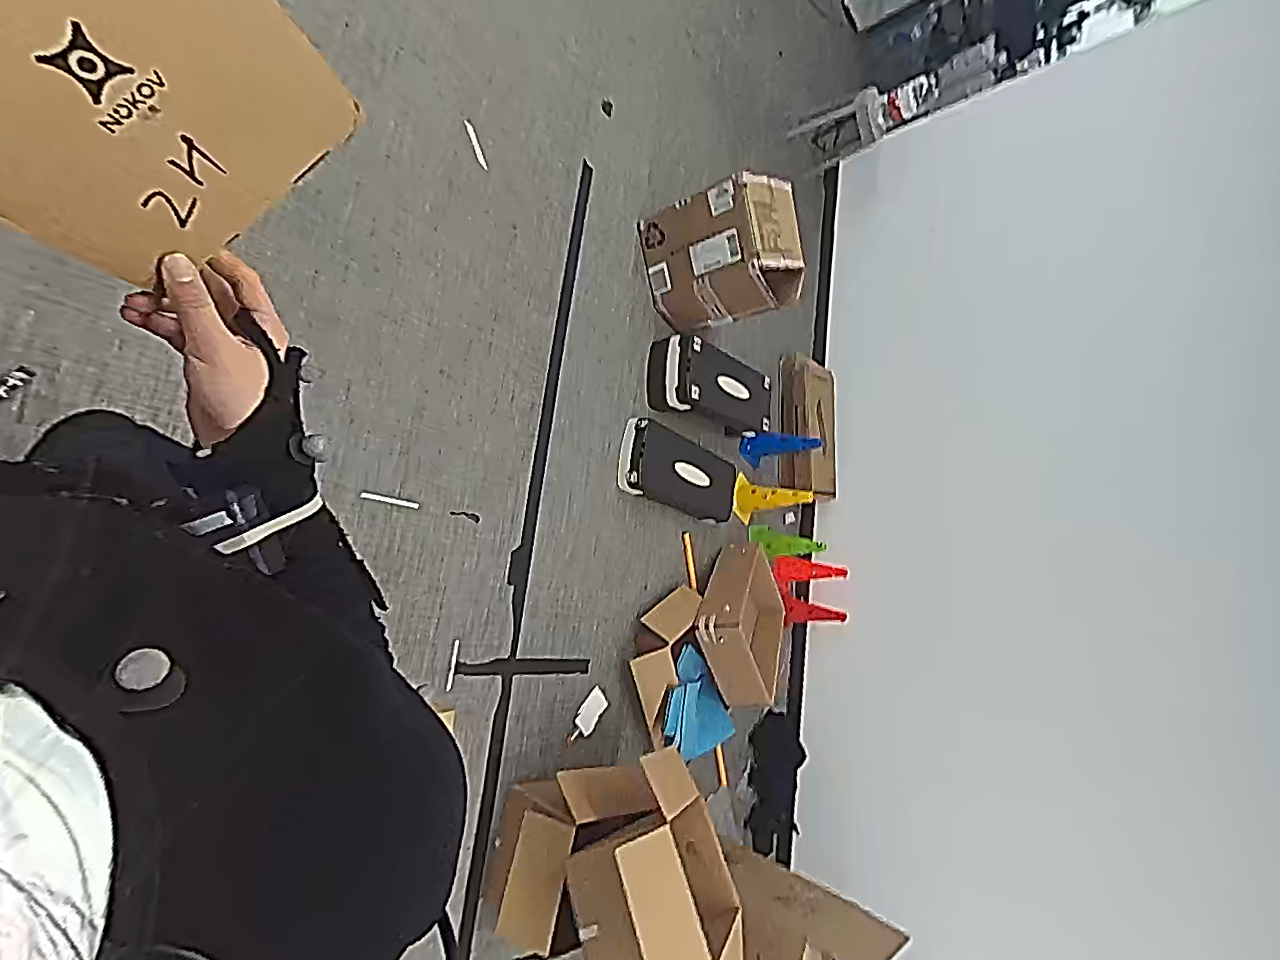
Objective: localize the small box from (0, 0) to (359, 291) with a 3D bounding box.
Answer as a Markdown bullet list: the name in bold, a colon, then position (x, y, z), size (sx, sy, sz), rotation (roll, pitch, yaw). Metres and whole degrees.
- **small box**: position (-0.290, -0.236, 0.255), size (0.168, 0.176, 0.179), rotation (-41, 168, 0)
